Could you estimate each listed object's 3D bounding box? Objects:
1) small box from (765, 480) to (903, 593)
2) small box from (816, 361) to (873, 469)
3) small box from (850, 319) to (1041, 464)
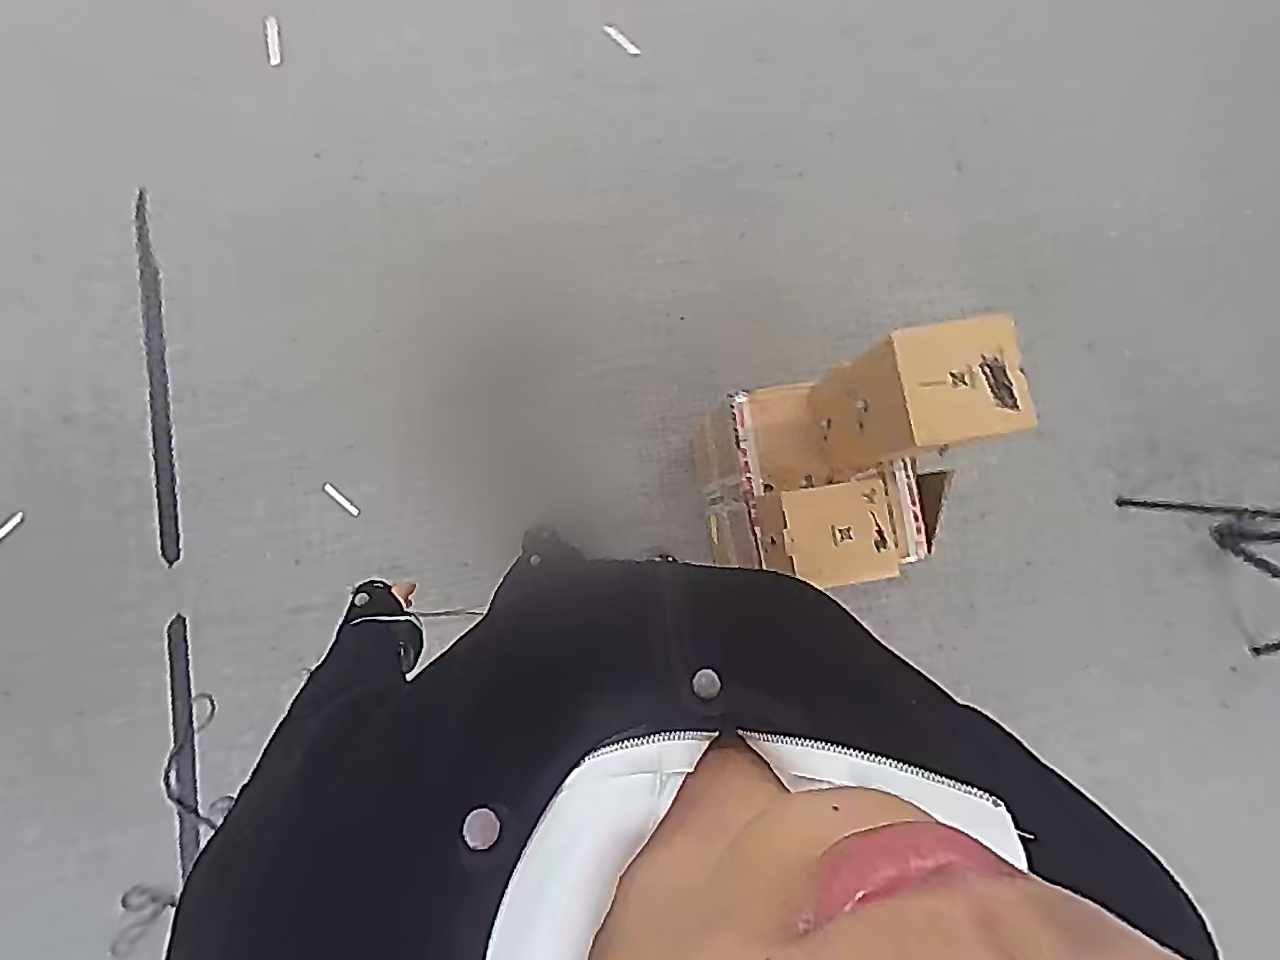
[{"bbox_3d":[0.329,0.098,0.958,0.179,0.176,0.168,-9,86,-1],"label":"small box"},{"bbox_3d":[0.445,-0.122,0.980,0.179,0.176,0.168,-12,84,-2],"label":"small box"},{"bbox_3d":[0.446,-0.124,0.815,0.179,0.176,0.168,-9,84,-1],"label":"small box"}]
